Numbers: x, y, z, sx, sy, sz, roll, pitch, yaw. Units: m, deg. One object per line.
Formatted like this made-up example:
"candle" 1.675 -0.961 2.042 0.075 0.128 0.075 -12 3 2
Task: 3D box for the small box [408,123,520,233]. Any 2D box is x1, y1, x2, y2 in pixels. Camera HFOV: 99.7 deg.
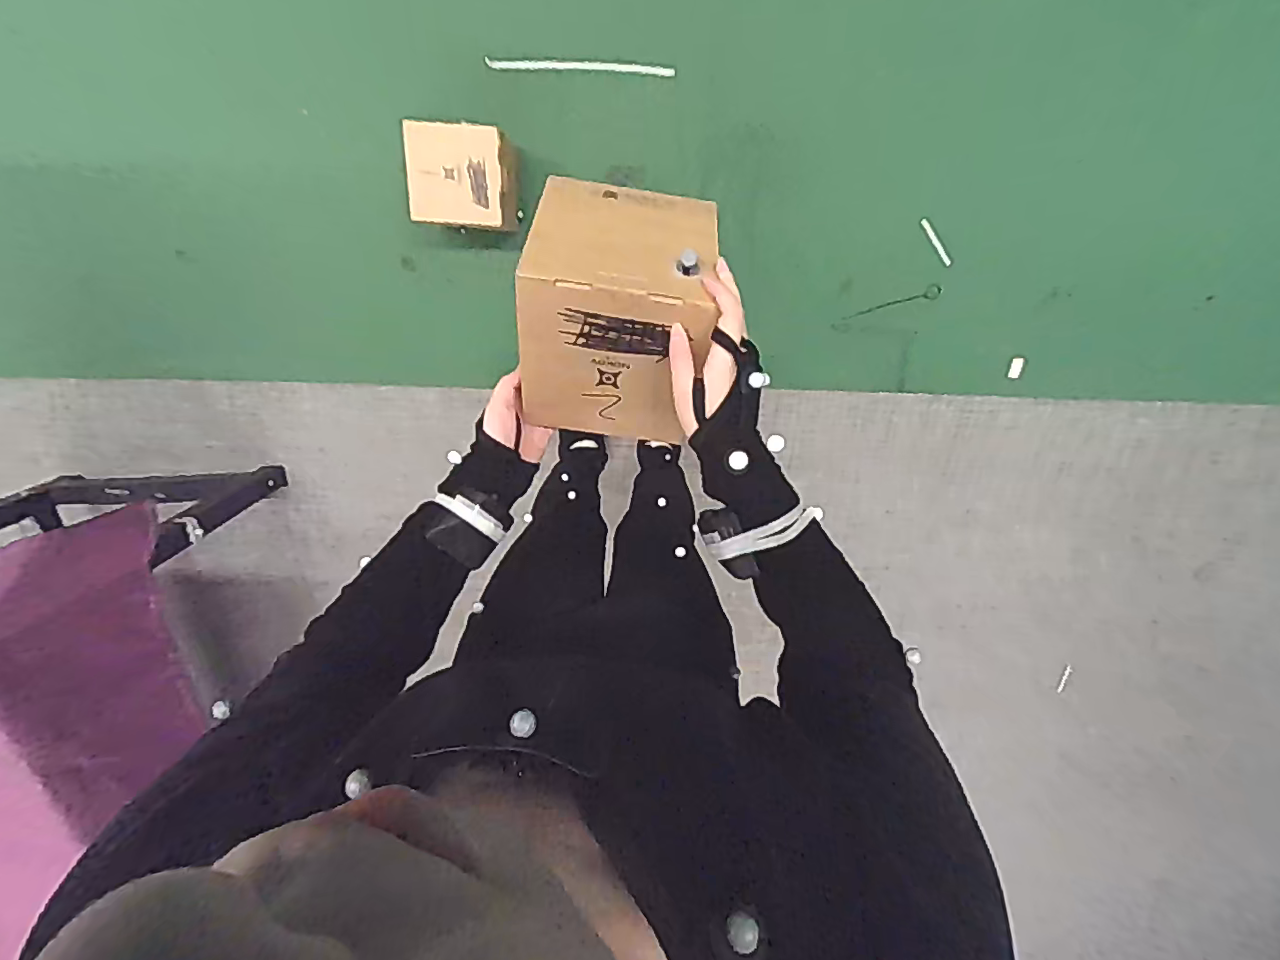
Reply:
"small box" -0.341 -0.594 1.083 0.179 0.176 0.168 4 111 0
